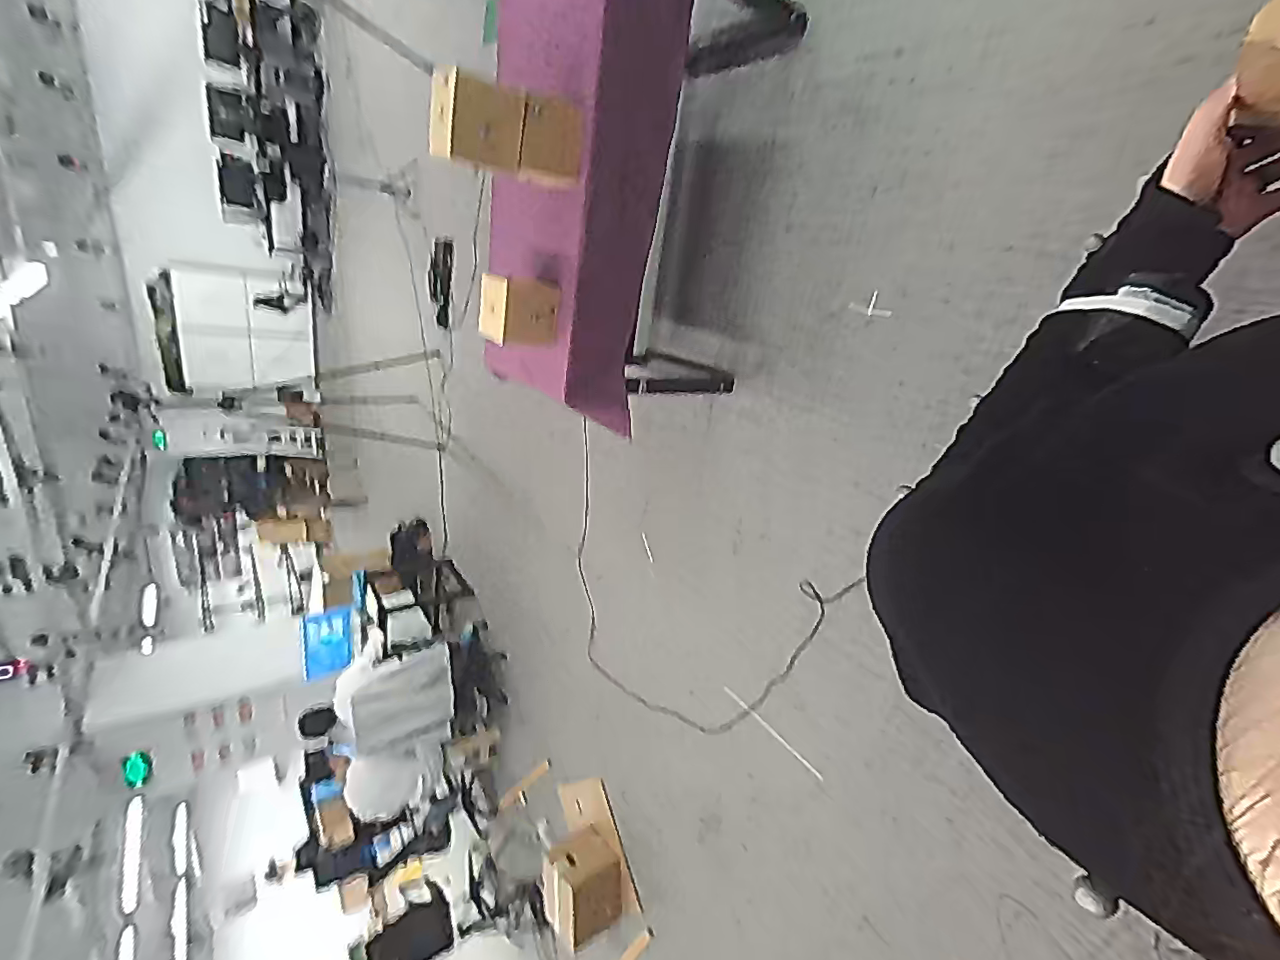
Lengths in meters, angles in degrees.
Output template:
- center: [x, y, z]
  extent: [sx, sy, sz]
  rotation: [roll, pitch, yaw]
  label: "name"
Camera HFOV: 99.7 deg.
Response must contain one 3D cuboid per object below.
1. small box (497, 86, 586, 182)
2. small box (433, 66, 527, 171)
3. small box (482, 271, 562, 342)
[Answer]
- center: [-0.256, -0.882, 1.397]
  extent: [0.168, 0.176, 0.179]
  rotation: [33, 121, 45]
  label: "small box"
- center: [-0.385, -0.859, 1.298]
  extent: [0.168, 0.176, 0.179]
  rotation: [38, 125, 43]
  label: "small box"
- center: [-0.343, -0.502, 1.571]
  extent: [0.179, 0.176, 0.168]
  rotation: [35, 122, 45]
  label: "small box"
